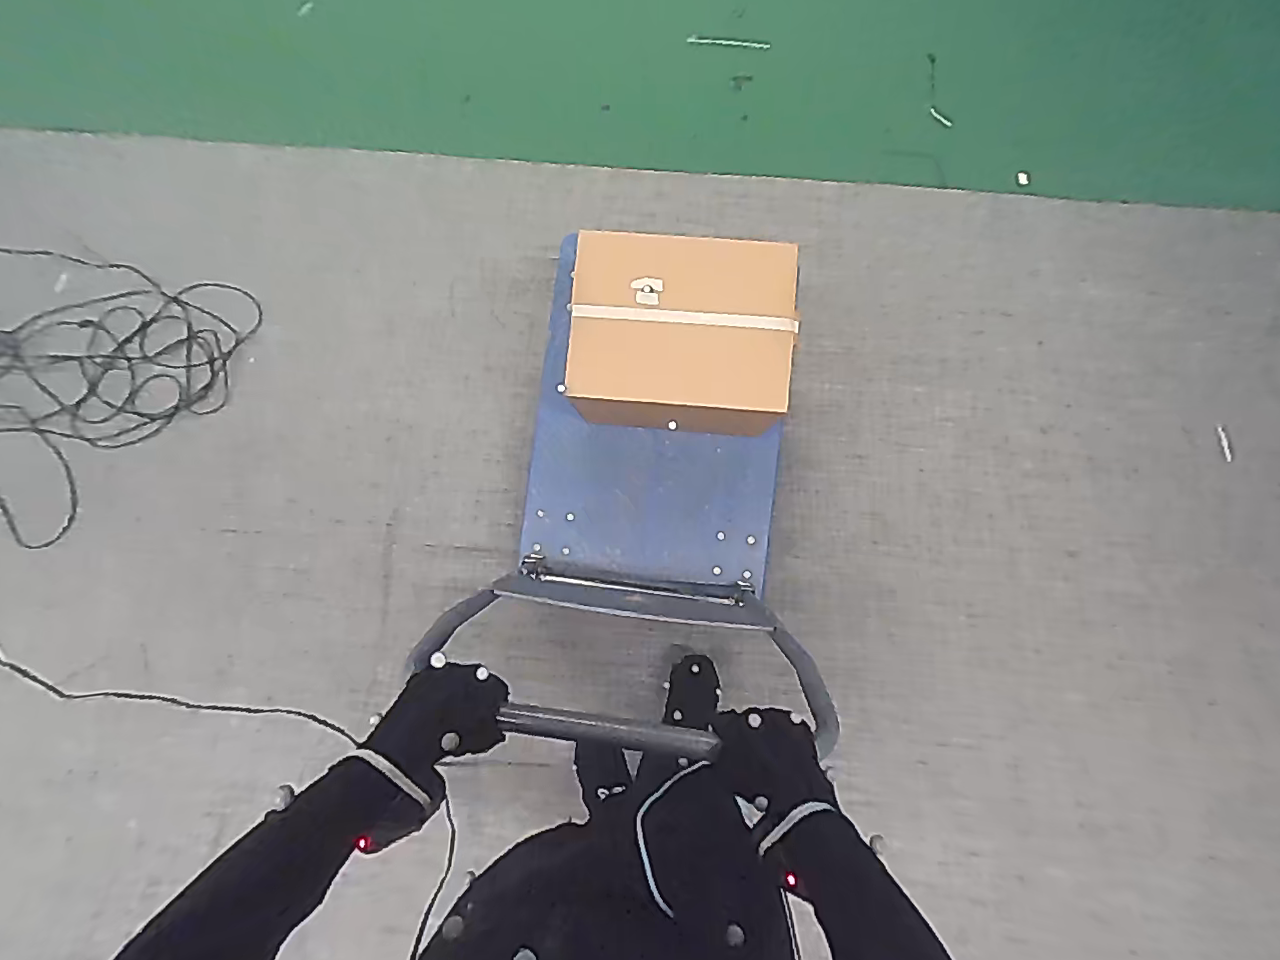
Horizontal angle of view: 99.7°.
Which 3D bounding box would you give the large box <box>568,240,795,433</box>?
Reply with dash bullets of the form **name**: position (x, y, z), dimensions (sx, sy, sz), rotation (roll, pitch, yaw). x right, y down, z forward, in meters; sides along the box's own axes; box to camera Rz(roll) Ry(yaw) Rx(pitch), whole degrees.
- **large box**: position (0.085, -0.273, 1.124), dimensions (0.408, 0.320, 0.320), rotation (4, 86, 4)
